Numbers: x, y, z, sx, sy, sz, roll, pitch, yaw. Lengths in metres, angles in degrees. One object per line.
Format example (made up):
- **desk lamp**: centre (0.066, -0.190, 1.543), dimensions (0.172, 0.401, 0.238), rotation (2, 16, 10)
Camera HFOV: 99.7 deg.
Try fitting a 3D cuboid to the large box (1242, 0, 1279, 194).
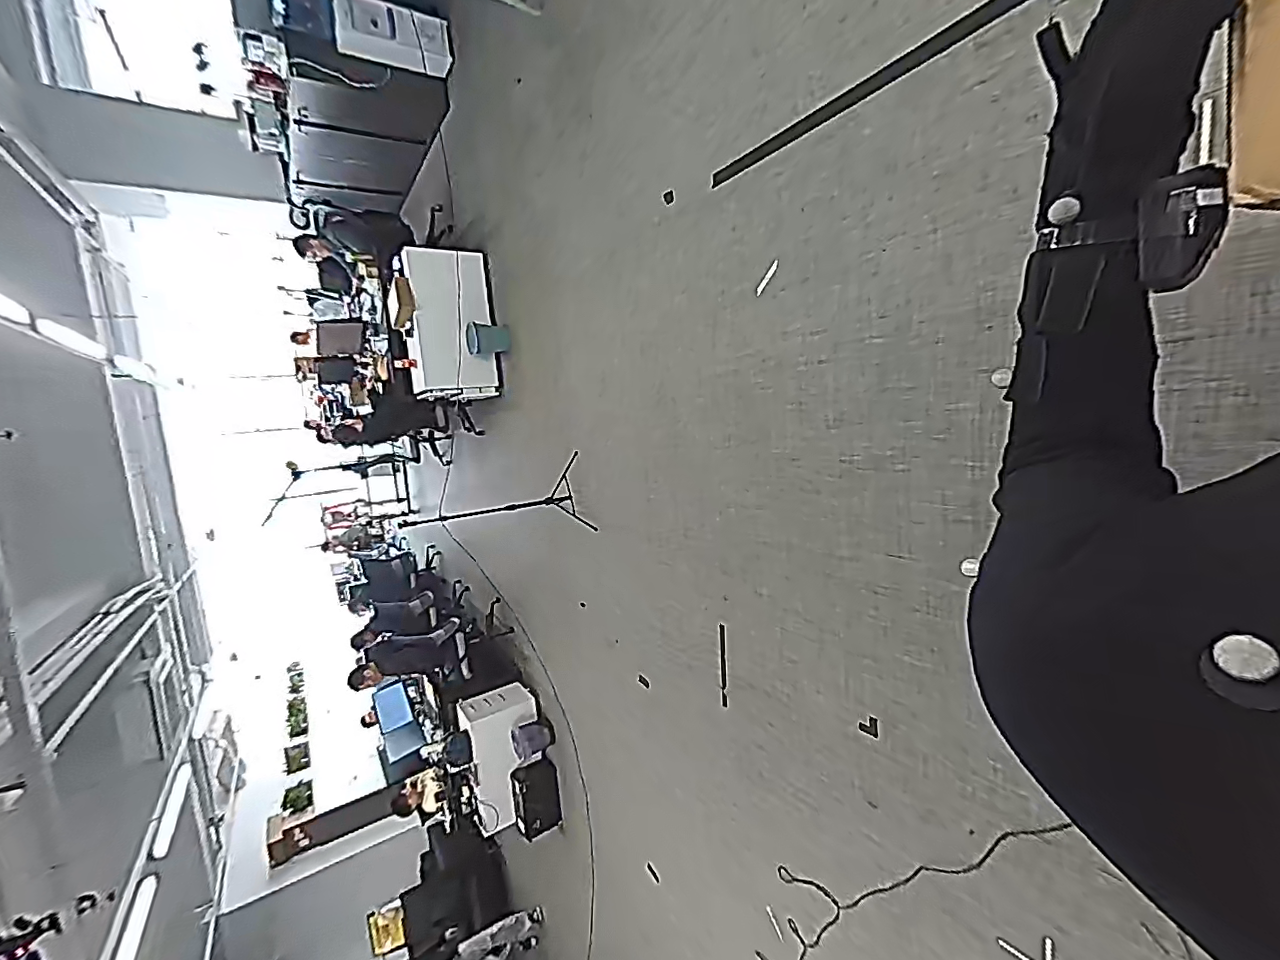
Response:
- **large box**: centre (0.532, -0.335, 0.190), dimensions (0.408, 0.320, 0.320), rotation (4, 108, 55)
